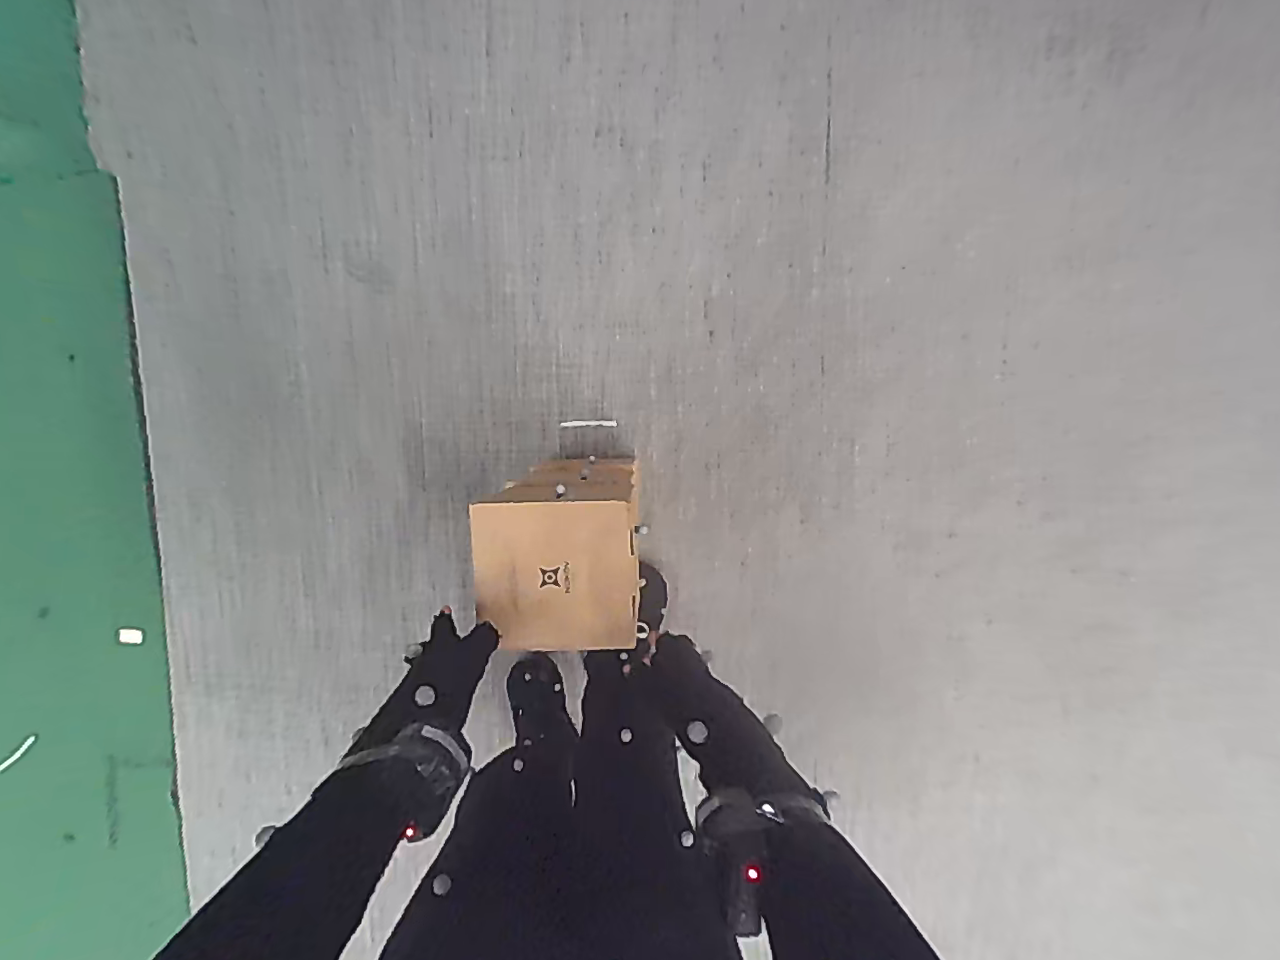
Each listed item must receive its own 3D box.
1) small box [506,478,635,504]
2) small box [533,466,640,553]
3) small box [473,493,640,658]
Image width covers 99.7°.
[{"bbox_3d":[-0.094,0.088,0.832,0.179,0.176,0.168,-3,97,3],"label":"small box"},{"bbox_3d":[-0.089,0.061,0.990,0.179,0.176,0.168,-1,95,3],"label":"small box"},{"bbox_3d":[-0.090,0.107,0.667,0.179,0.176,0.168,-2,94,3],"label":"small box"}]
